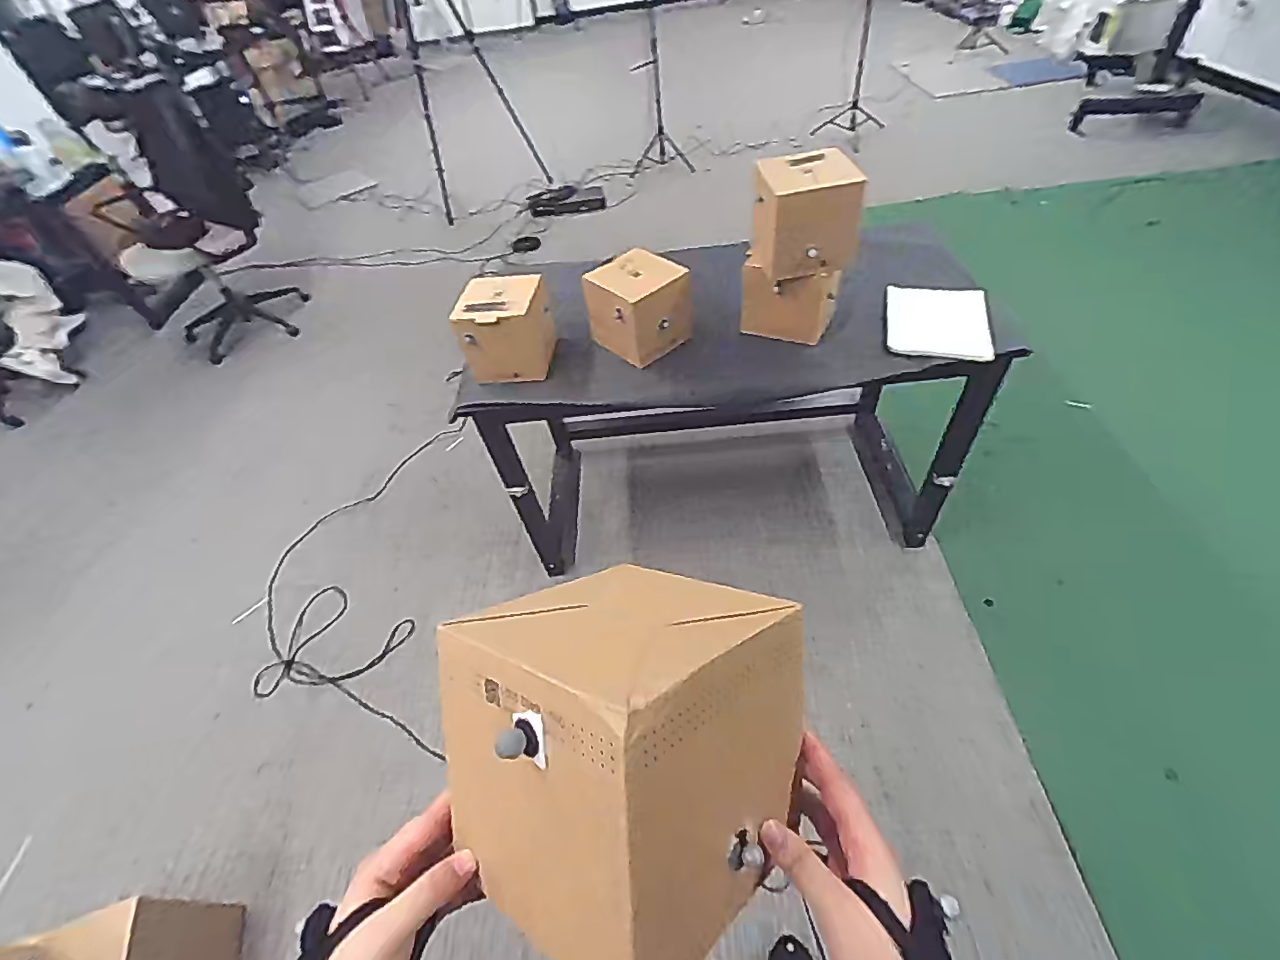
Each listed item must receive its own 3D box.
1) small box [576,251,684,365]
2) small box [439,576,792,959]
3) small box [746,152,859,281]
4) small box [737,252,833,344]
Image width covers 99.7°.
[{"bbox_3d":[-0.015,-0.384,1.222,0.168,0.176,0.179,-37,54,-23],"label":"small box"},{"bbox_3d":[-0.011,0.167,0.358,0.168,0.176,0.179,3,8,43],"label":"small box"},{"bbox_3d":[0.310,-0.522,1.075,0.168,0.176,0.179,-9,48,2],"label":"small box"},{"bbox_3d":[0.327,-0.425,1.207,0.179,0.176,0.168,17,54,23],"label":"small box"}]
